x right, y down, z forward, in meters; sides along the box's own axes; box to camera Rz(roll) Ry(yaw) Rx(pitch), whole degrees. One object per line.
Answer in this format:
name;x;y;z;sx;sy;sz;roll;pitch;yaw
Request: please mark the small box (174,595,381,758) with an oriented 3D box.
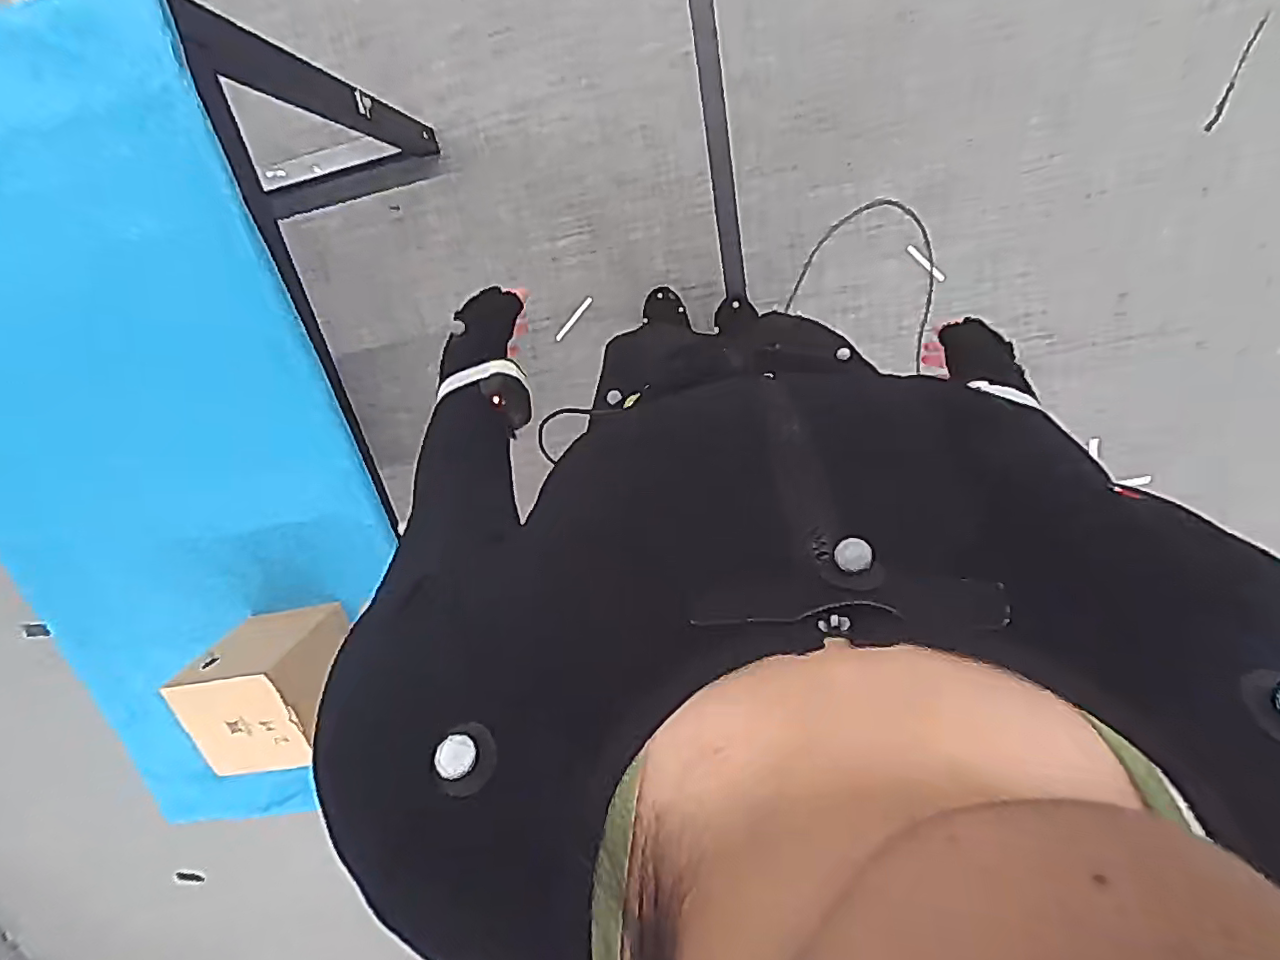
small box;-0.546;0.299;0.842;0.179;0.176;0.168;-8;112;7
